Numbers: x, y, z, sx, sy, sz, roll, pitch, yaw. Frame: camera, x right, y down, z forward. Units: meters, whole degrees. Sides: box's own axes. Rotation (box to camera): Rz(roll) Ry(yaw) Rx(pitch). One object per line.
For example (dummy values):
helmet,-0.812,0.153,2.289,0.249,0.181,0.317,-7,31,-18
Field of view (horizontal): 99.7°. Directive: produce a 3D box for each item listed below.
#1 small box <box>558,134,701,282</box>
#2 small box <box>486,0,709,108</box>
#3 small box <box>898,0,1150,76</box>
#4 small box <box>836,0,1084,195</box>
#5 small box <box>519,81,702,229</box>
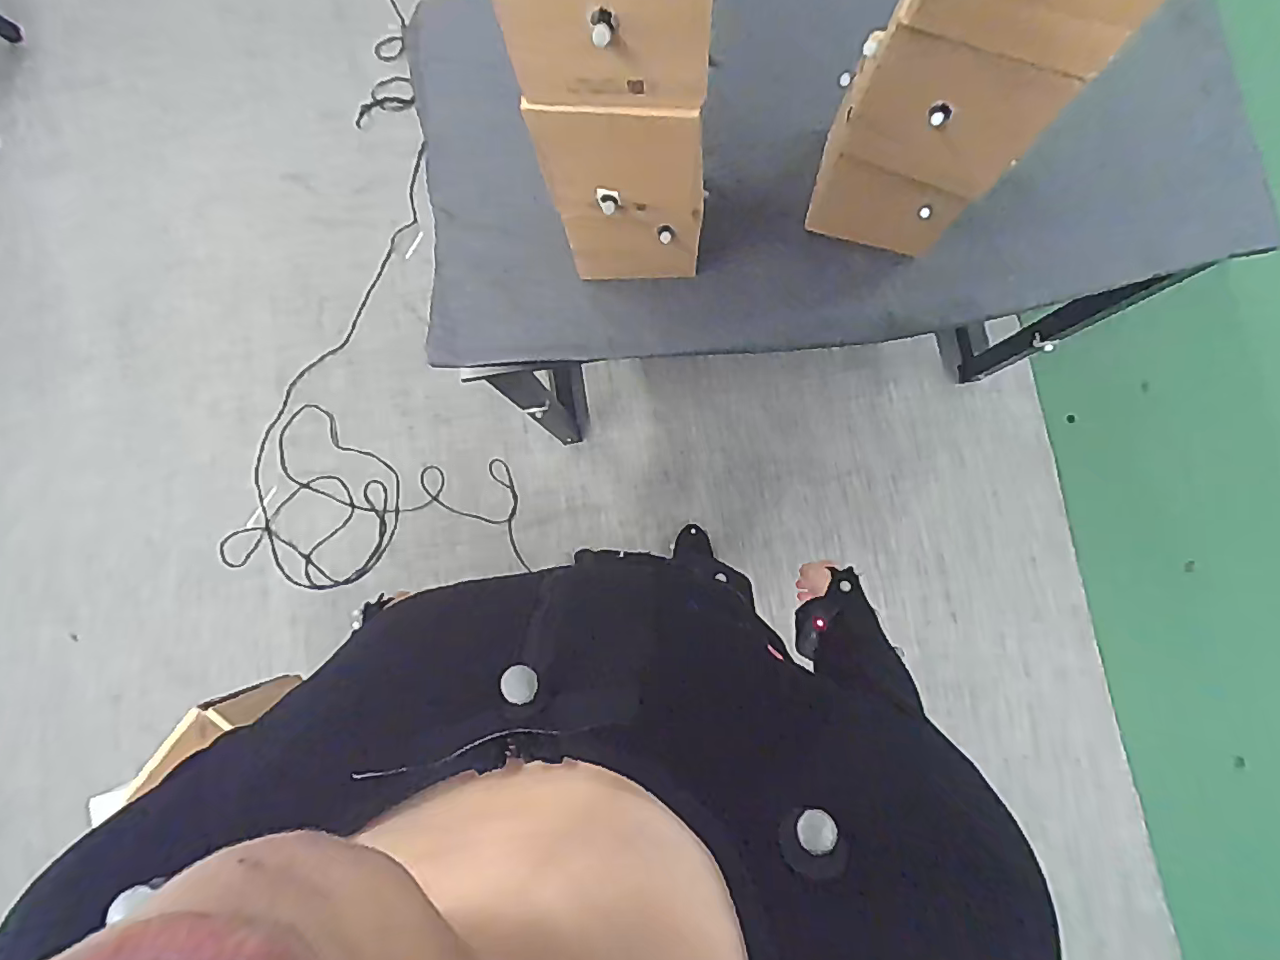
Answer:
small box,-0.010,-0.387,0.741,0.179,0.176,0.168,-1,83,3
small box,-0.027,-0.426,0.417,0.168,0.176,0.179,4,84,4
small box,0.326,-0.454,0.403,0.179,0.176,0.168,20,84,4
small box,0.336,-0.436,0.564,0.179,0.176,0.168,22,85,5
small box,-0.019,-0.402,0.580,0.168,0.176,0.179,4,85,4
